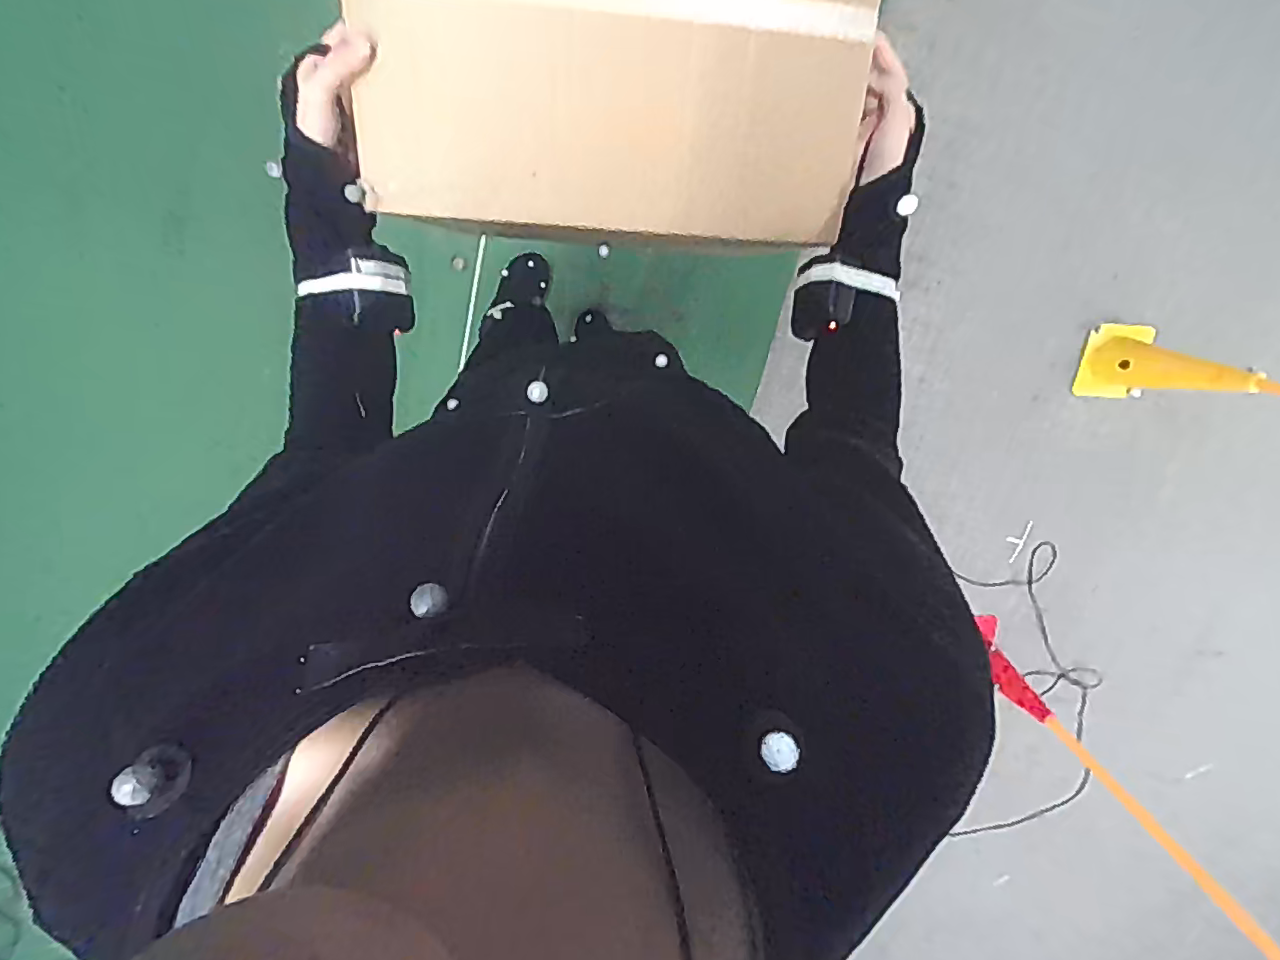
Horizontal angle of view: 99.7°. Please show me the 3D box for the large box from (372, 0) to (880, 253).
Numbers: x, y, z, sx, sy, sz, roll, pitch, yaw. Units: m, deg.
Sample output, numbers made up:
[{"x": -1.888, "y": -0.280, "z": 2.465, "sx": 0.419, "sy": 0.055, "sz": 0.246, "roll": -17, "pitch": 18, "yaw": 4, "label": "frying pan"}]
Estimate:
[{"x": -0.018, "y": -0.417, "z": 0.565, "sx": 0.408, "sy": 0.320, "sz": 0.320, "roll": 2, "pitch": 110, "yaw": -7, "label": "large box"}]
